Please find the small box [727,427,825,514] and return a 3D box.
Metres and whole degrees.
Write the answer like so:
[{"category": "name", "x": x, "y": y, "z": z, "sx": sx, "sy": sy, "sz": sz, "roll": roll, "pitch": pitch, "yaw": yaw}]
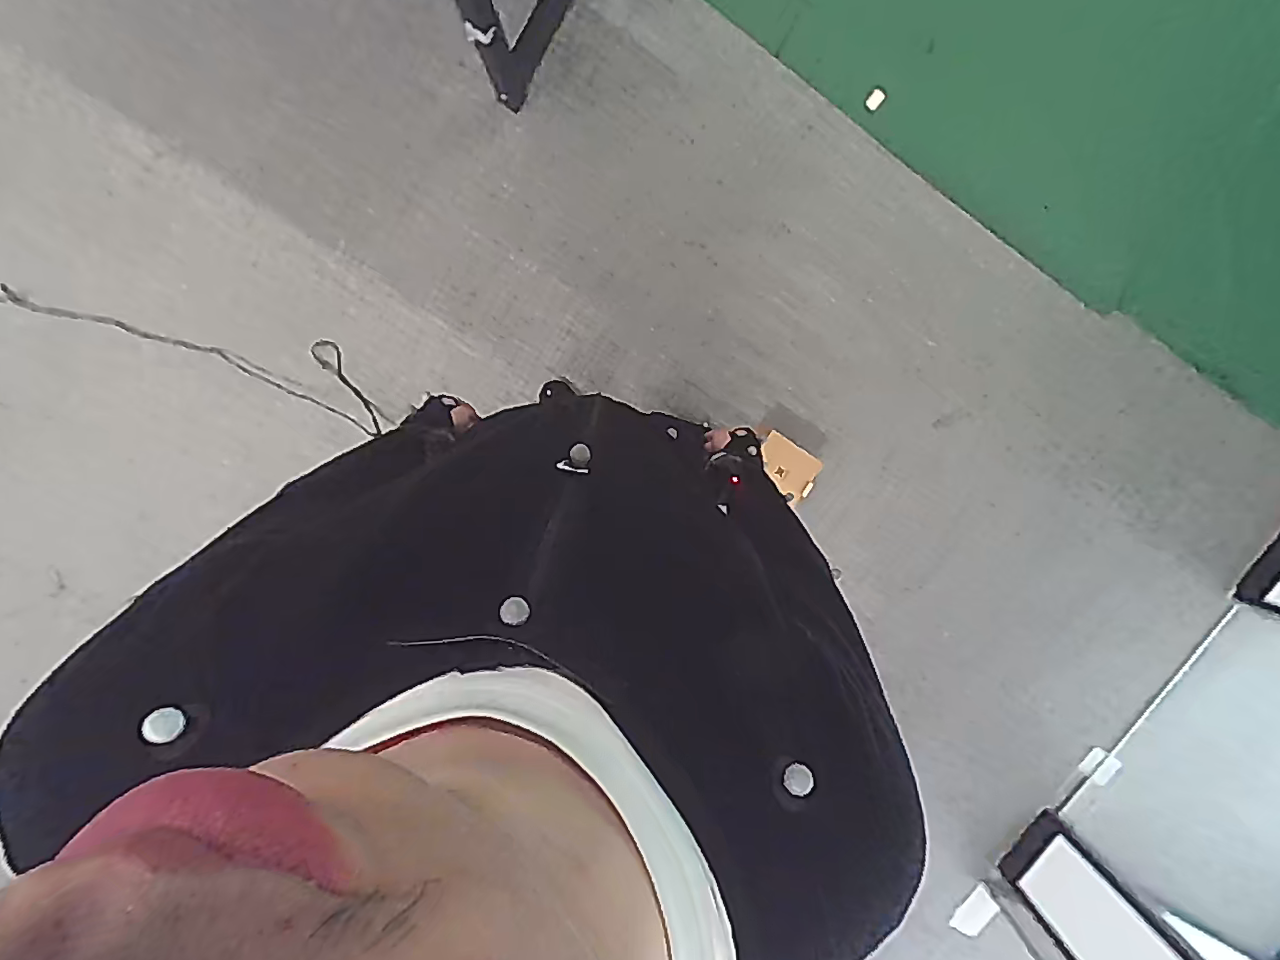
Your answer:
[{"category": "small box", "x": 0.370, "y": -0.034, "z": 1.501, "sx": 0.179, "sy": 0.176, "sz": 0.168, "roll": 34, "pitch": 96, "yaw": -9}]
